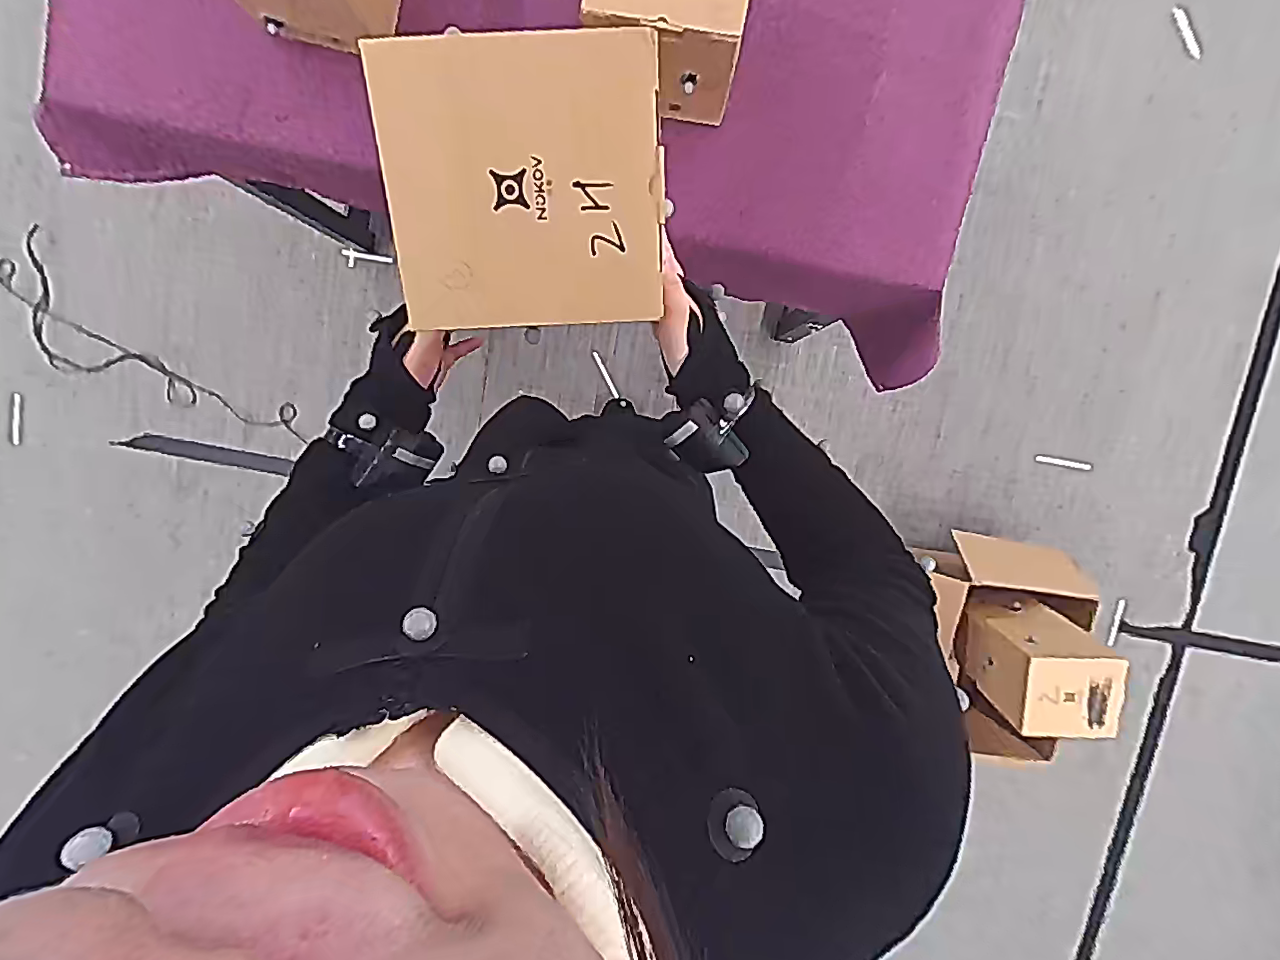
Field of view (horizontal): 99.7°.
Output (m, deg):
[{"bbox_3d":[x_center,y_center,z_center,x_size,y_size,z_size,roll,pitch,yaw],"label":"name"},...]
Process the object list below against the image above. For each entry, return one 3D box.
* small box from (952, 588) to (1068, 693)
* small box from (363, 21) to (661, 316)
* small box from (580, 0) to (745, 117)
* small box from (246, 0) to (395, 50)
[{"bbox_3d":[0.857,0.366,1.268,0.168,0.176,0.179,-11,100,6],"label":"small box"},{"bbox_3d":[-0.075,-0.215,0.415,0.179,0.176,0.168,-2,111,-1],"label":"small box"},{"bbox_3d":[0.036,-0.548,0.606,0.168,0.176,0.179,10,97,-1],"label":"small box"},{"bbox_3d":[-0.380,-0.629,0.598,0.168,0.176,0.179,13,96,-2],"label":"small box"}]
